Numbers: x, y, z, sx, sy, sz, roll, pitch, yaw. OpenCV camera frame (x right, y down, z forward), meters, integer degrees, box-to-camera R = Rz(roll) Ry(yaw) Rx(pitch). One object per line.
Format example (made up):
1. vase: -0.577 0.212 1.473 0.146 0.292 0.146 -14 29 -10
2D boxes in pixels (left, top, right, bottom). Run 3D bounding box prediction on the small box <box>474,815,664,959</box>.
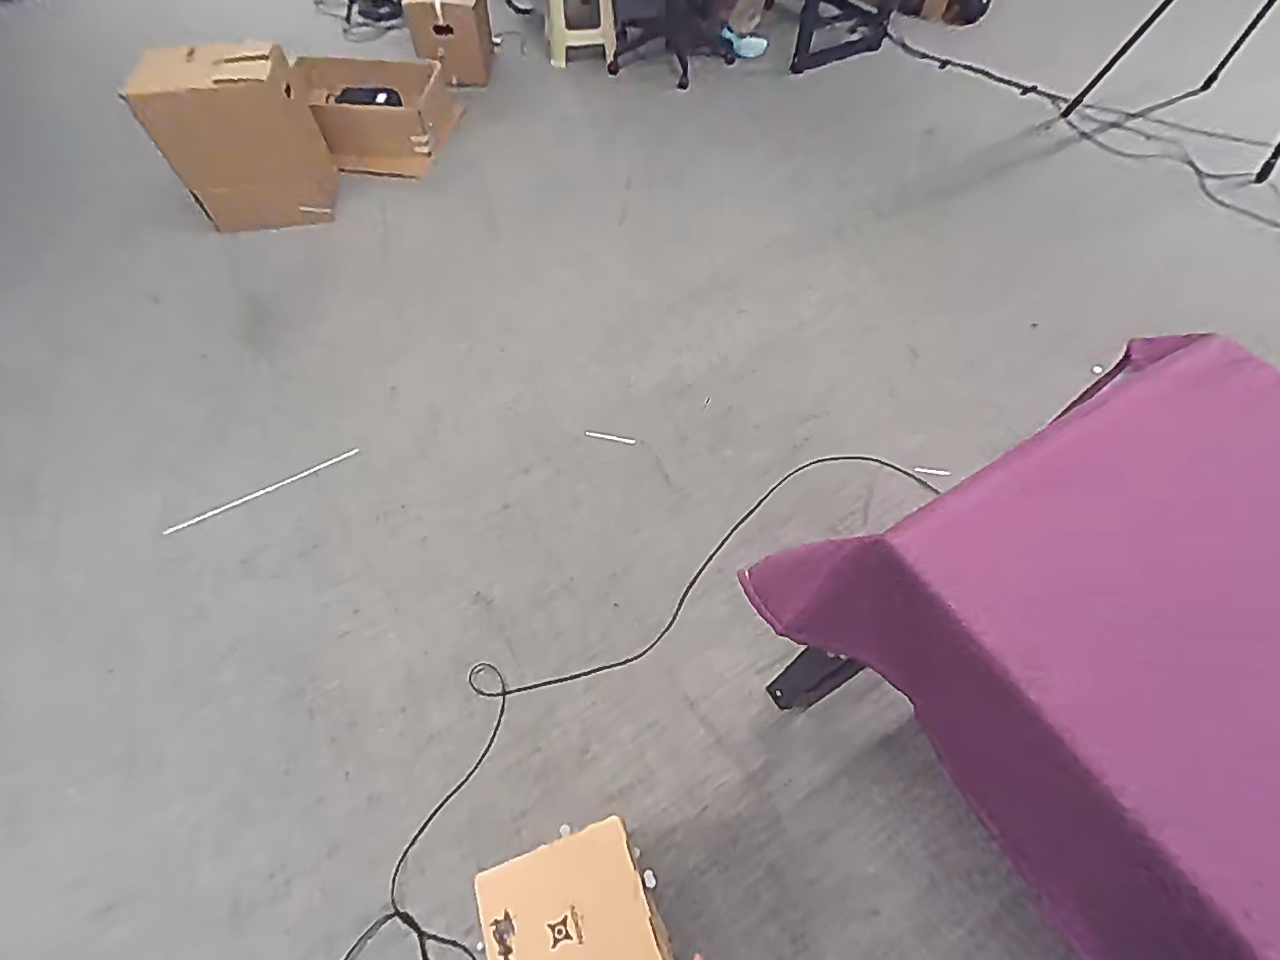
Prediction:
1. small box: -0.082 0.523 0.649 0.179 0.176 0.168 -17 59 -12
